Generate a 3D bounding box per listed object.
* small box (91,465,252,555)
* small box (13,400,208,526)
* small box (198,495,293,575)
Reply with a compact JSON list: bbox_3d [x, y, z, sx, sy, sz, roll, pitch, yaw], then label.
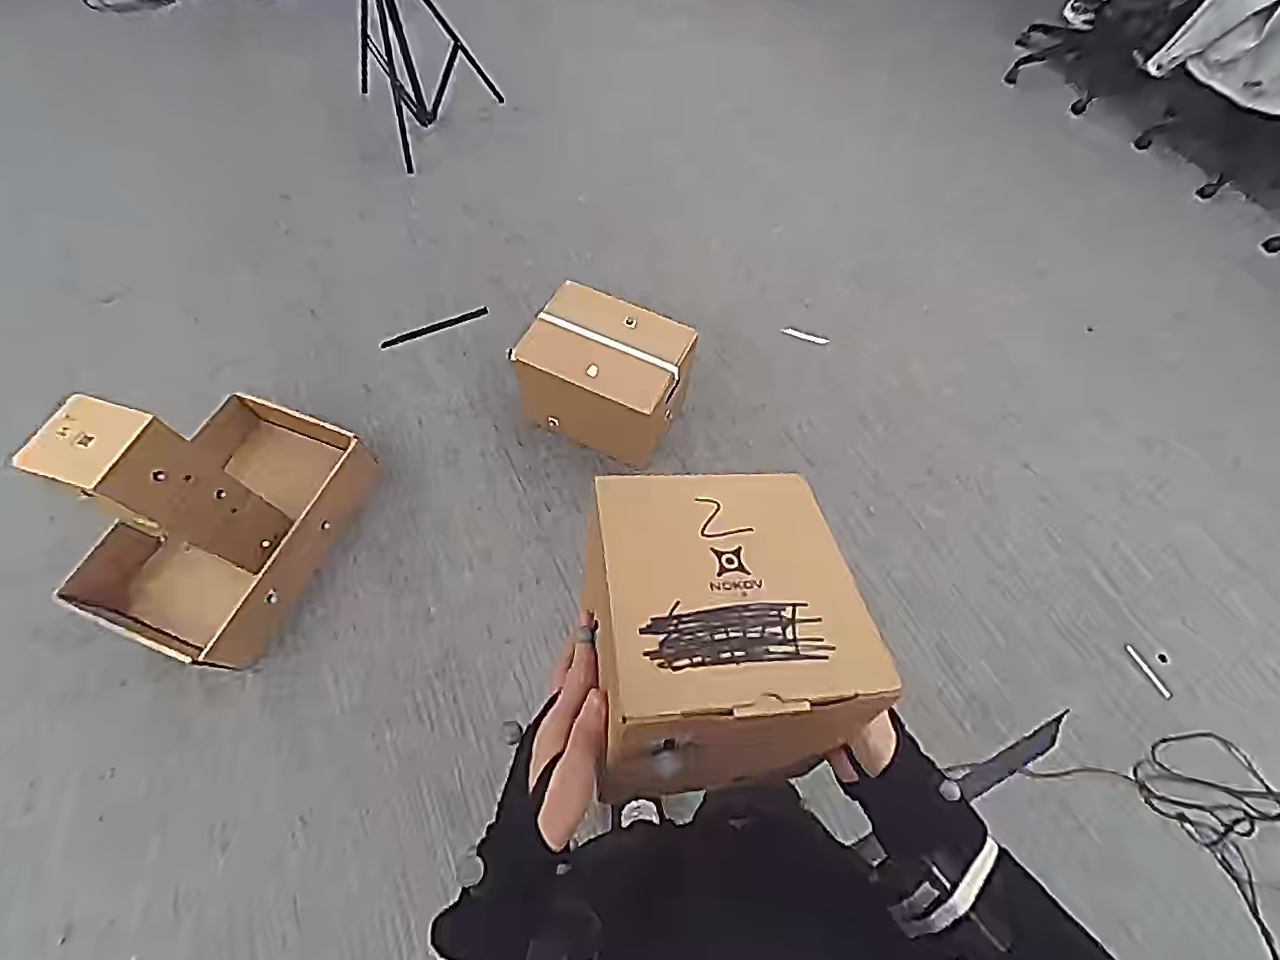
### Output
[{"bbox_3d":[-1.027,0.053,1.207,0.179,0.176,0.168,15,63,6],"label":"small box"},{"bbox_3d":[-1.018,-0.025,1.062,0.179,0.176,0.168,15,62,5],"label":"small box"},{"bbox_3d":[-1.029,0.121,1.354,0.179,0.176,0.168,19,64,6],"label":"small box"}]
